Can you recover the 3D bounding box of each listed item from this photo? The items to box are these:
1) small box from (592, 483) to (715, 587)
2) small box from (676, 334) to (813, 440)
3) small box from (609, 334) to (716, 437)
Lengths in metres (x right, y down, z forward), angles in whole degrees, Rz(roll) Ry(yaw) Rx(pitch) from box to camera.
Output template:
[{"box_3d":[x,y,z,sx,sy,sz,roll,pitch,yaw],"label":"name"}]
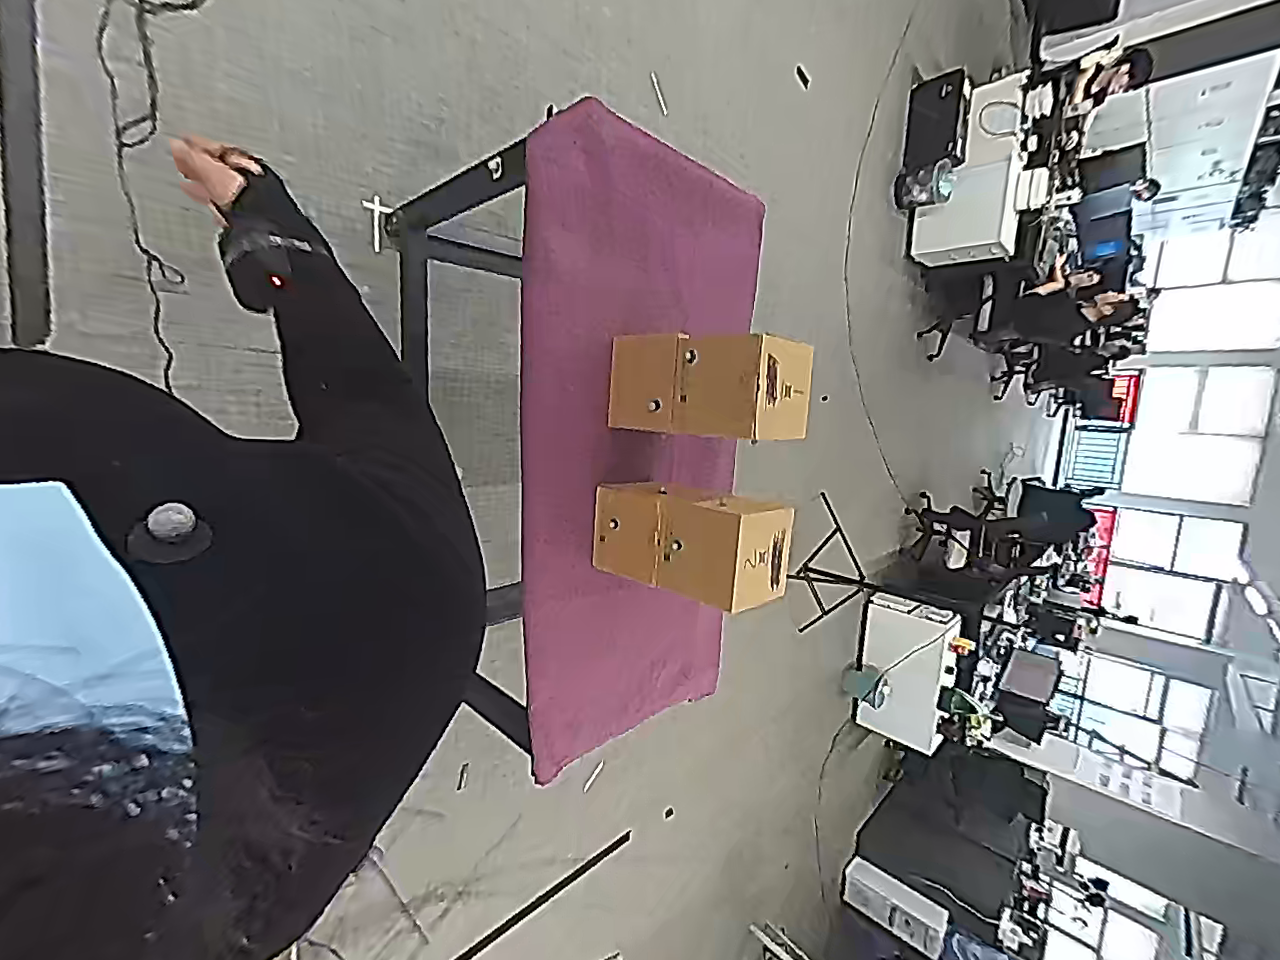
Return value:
[{"box_3d":[0.027,0.099,1.081,0.179,0.176,0.168,-3,100,-47],"label":"small box"},{"box_3d":[0.180,-0.158,0.948,0.179,0.176,0.168,-6,102,-47],"label":"small box"},{"box_3d":[0.056,-0.180,1.055,0.168,0.176,0.179,-3,100,-47],"label":"small box"}]
